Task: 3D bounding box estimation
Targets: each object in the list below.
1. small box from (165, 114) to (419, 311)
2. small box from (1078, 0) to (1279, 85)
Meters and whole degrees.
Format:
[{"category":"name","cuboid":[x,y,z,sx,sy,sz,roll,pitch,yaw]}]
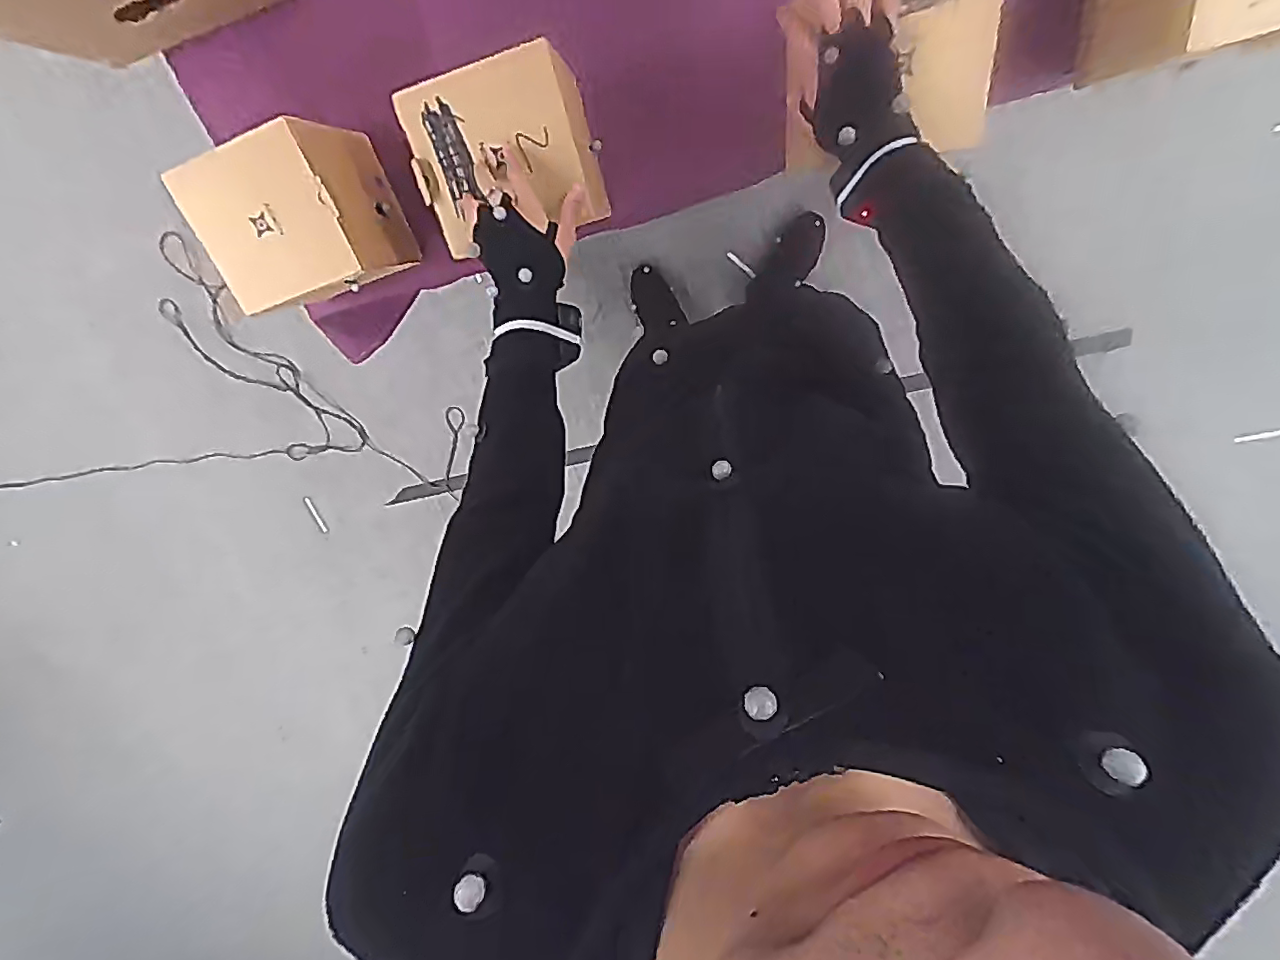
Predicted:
[{"category":"small box","cuboid":[-0.425,-0.333,0.694,0.179,0.176,0.168,-16,114,11]},{"category":"small box","cuboid":[0.569,-0.517,0.520,0.168,0.176,0.179,-7,115,9]}]
